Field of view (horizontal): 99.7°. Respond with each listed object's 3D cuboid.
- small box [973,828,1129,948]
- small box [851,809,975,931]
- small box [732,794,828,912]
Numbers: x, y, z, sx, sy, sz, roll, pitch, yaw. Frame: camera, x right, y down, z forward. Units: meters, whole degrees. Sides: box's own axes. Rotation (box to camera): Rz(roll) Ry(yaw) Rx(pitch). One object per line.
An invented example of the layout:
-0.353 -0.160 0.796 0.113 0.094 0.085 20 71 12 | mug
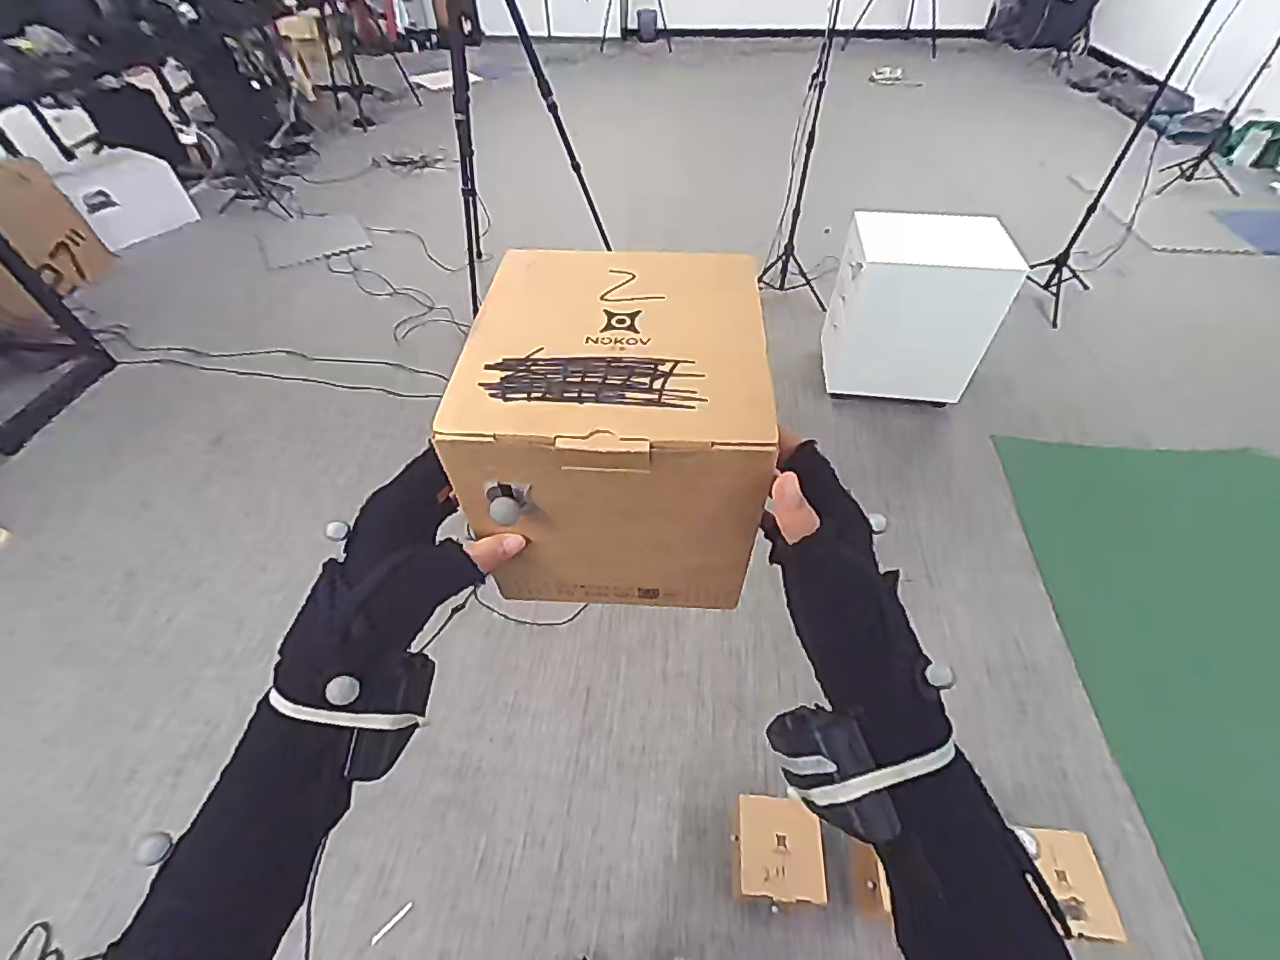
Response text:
0.820 0.833 1.102 0.168 0.176 0.179 3 48 3 | small box
0.553 0.813 1.125 0.168 0.176 0.179 6 49 5 | small box
0.286 0.790 1.144 0.168 0.176 0.179 3 49 5 | small box
